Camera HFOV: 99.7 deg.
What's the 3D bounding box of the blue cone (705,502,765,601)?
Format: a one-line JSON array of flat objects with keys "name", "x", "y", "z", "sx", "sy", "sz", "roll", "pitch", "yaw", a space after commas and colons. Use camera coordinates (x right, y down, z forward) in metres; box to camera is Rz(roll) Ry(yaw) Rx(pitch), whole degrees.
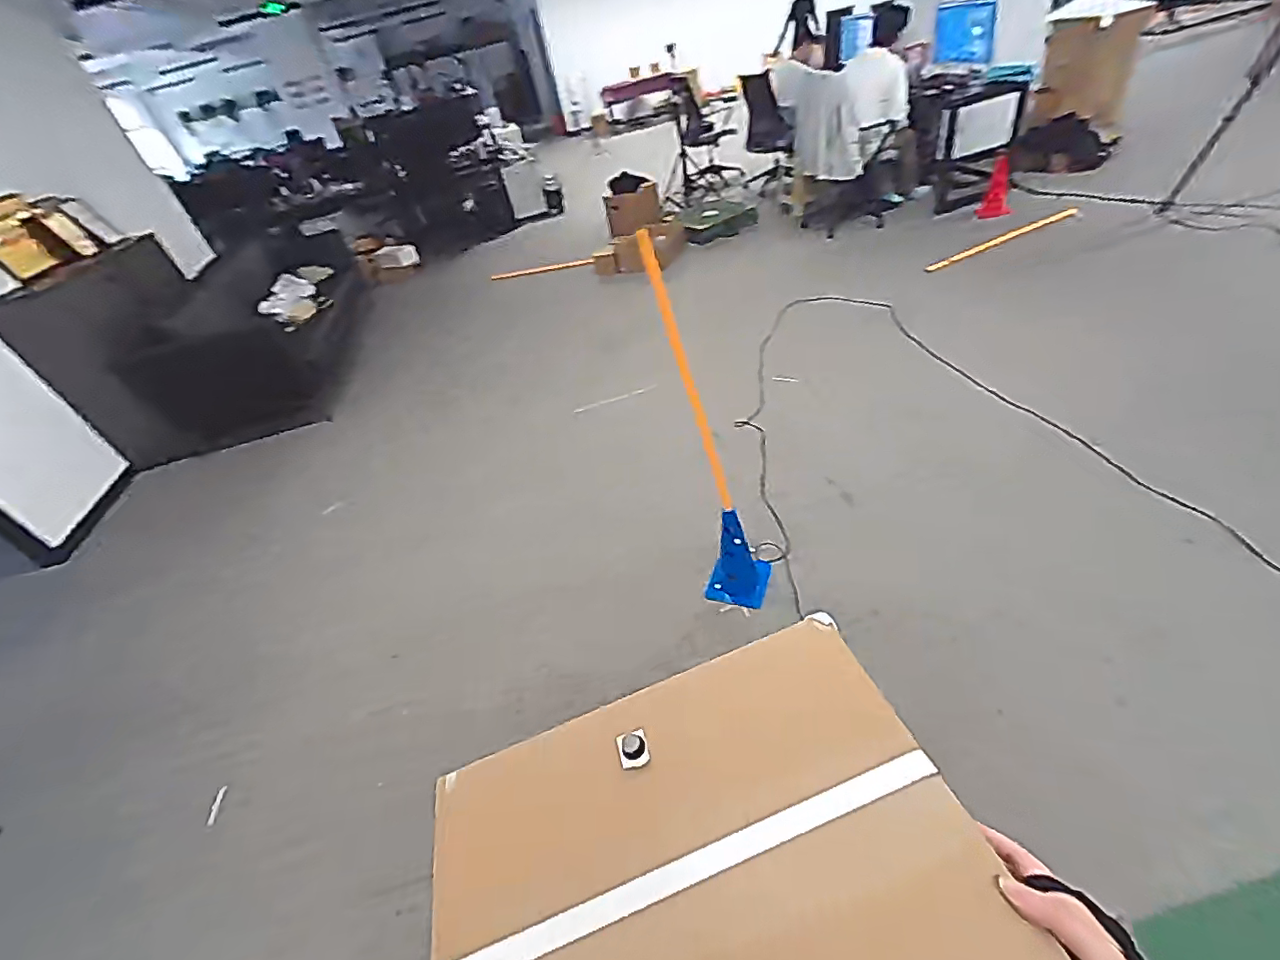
[{"name": "blue cone", "x": 0.296, "y": 0.216, "z": 1.774, "sx": 0.192, "sy": 0.380, "sz": 0.193, "roll": 4, "pitch": 44, "yaw": 22}]
